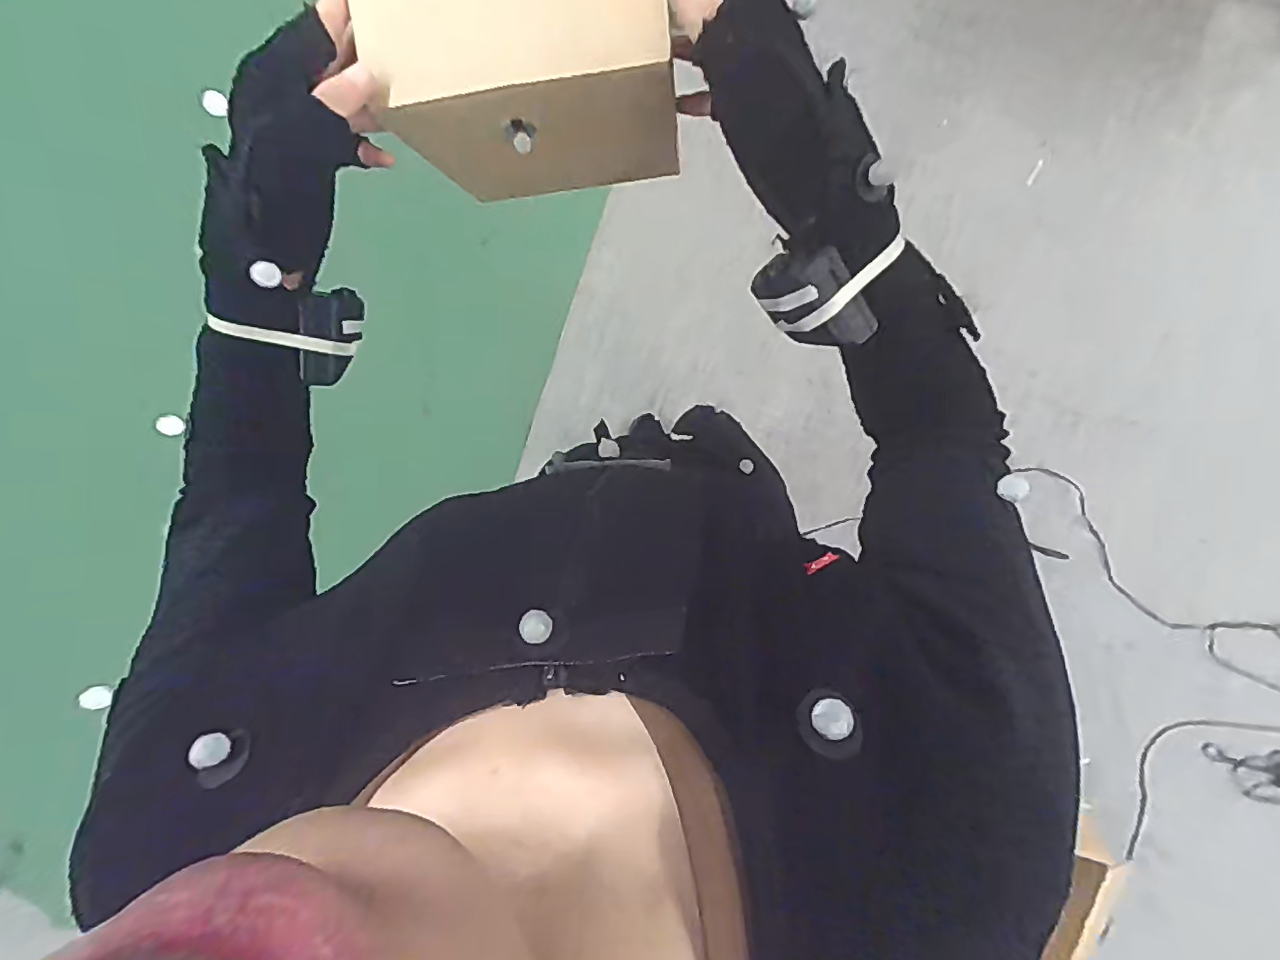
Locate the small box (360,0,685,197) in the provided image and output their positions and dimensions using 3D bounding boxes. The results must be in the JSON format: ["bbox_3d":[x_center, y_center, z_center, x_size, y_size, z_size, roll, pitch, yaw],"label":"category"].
[{"bbox_3d":[-0.064,-0.309,0.364,0.179,0.176,0.168,-4,102,6],"label":"small box"}]
